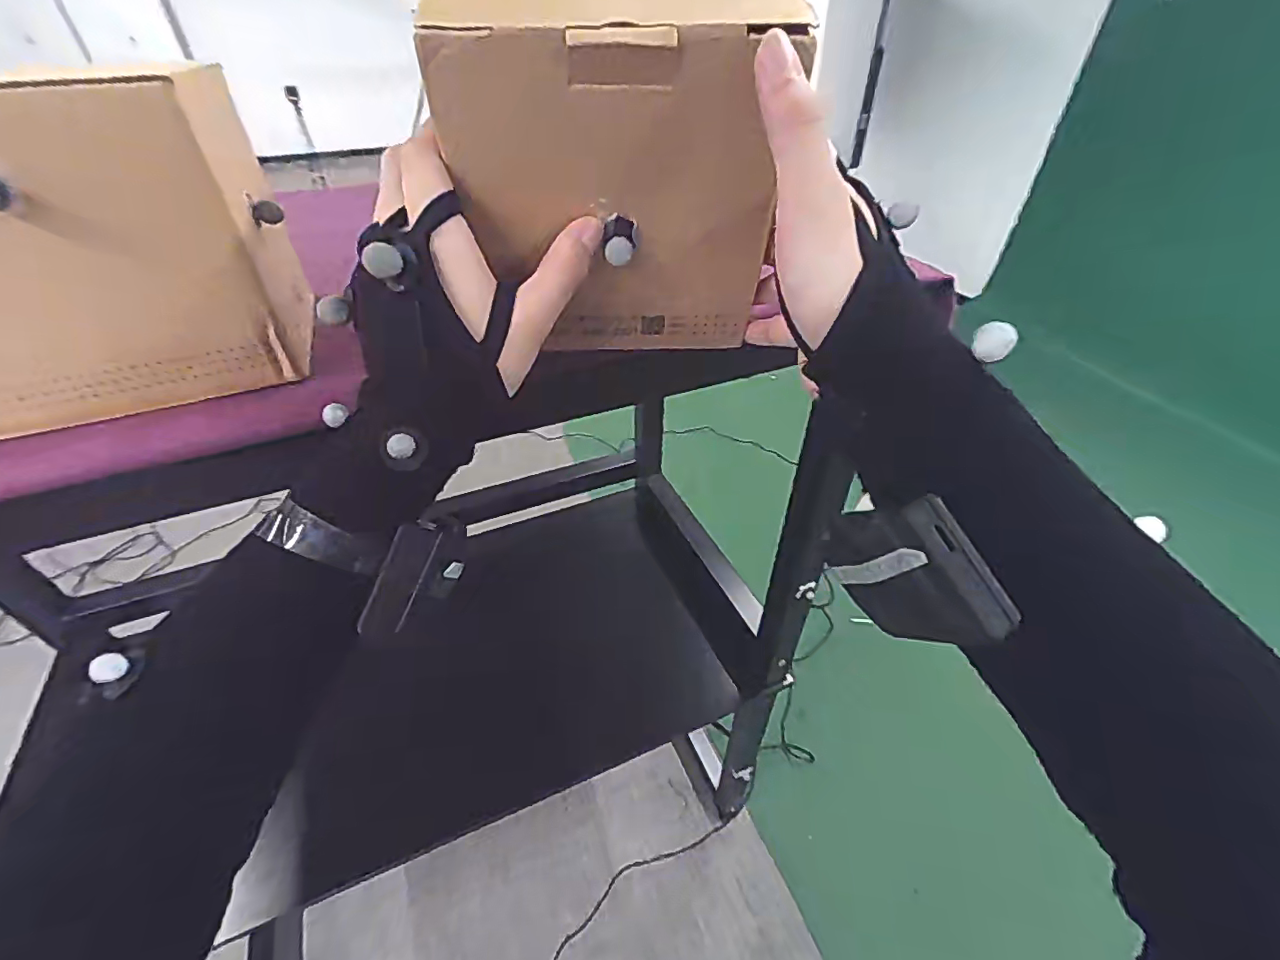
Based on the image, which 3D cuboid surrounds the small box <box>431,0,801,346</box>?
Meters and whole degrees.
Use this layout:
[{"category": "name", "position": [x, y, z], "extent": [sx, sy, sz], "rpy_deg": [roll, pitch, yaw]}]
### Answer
[{"category": "small box", "position": [-0.014, -0.201, 0.345], "extent": [0.168, 0.176, 0.179], "rpy_deg": [-1, 56, -3]}]

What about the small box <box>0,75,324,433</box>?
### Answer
[{"category": "small box", "position": [-0.332, -0.155, 0.358], "extent": [0.179, 0.176, 0.168], "rpy_deg": [-17, 42, -17]}]
